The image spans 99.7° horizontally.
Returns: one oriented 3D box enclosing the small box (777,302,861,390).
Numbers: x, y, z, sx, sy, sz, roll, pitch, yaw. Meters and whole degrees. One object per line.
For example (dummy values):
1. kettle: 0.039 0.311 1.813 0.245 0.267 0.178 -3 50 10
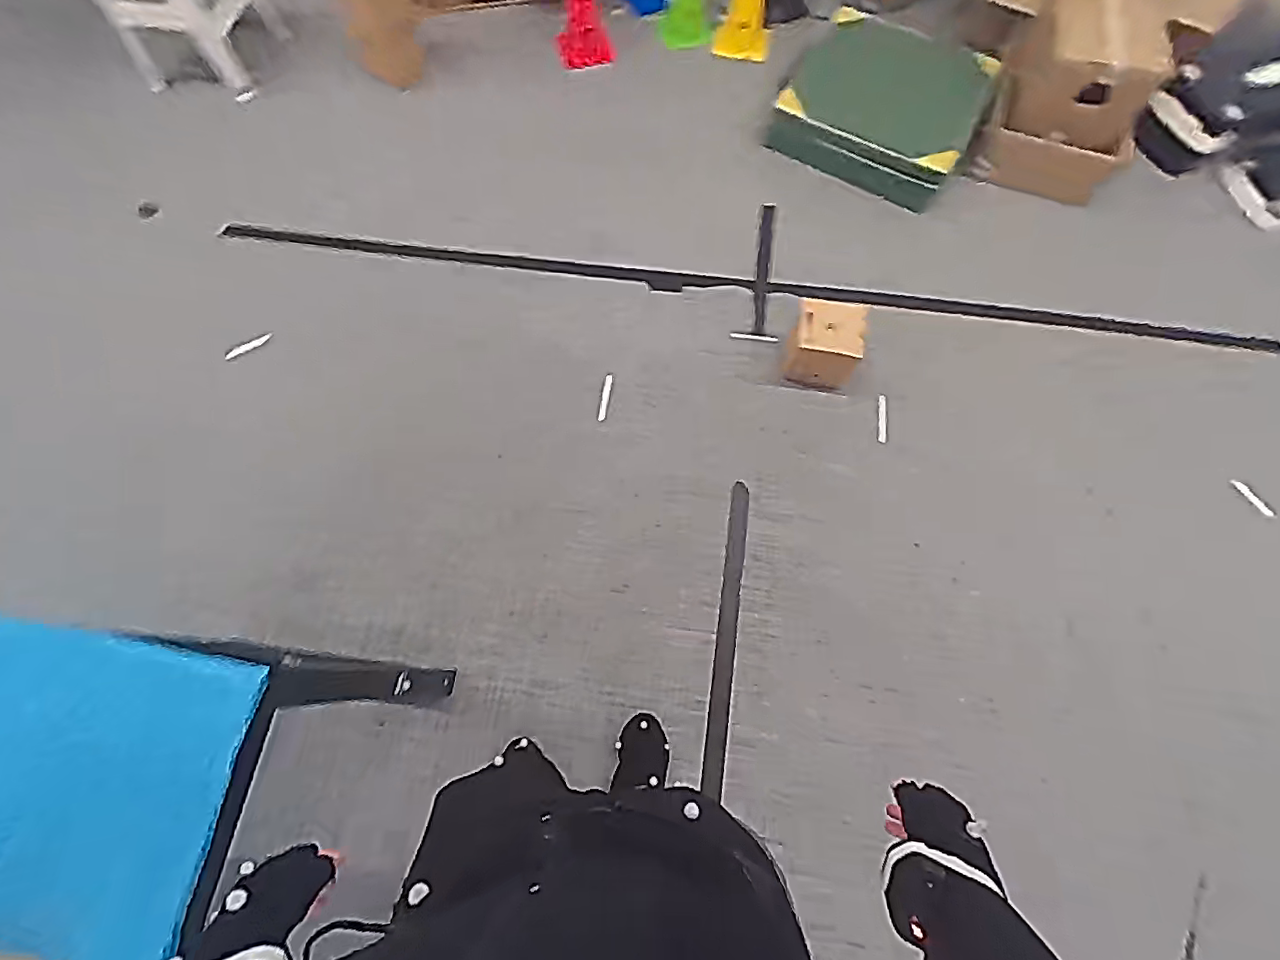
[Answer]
1. small box: 0.512 -0.378 1.556 0.179 0.176 0.168 12 70 2
